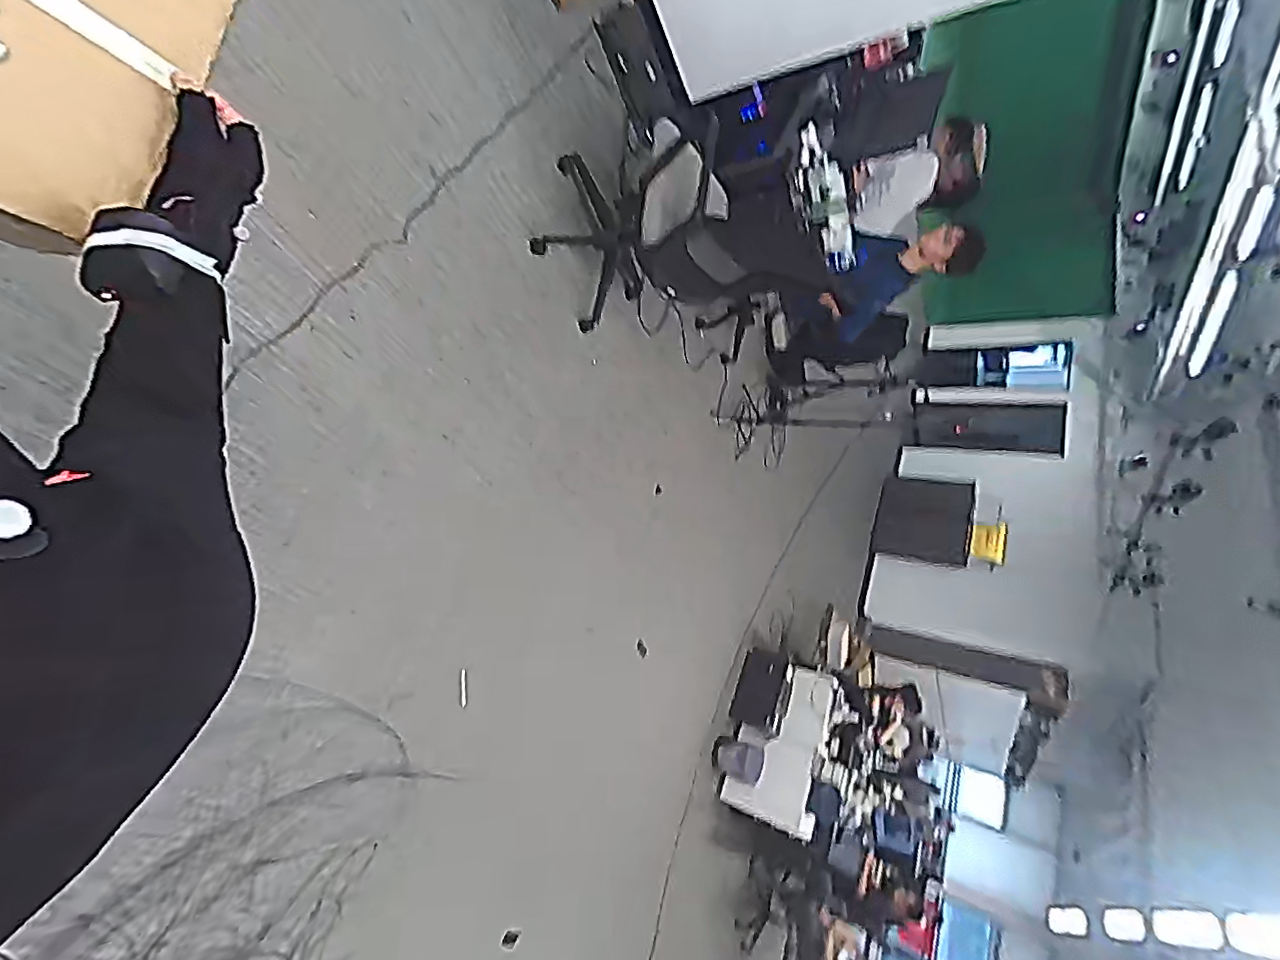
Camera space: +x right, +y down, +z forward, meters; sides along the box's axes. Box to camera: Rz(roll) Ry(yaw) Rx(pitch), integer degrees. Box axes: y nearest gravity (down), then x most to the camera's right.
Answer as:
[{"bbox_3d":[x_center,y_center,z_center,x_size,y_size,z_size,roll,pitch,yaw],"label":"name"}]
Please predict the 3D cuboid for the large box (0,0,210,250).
[{"bbox_3d":[-0.623,-0.410,0.376,0.408,0.320,0.320,19,89,-61],"label":"large box"}]
